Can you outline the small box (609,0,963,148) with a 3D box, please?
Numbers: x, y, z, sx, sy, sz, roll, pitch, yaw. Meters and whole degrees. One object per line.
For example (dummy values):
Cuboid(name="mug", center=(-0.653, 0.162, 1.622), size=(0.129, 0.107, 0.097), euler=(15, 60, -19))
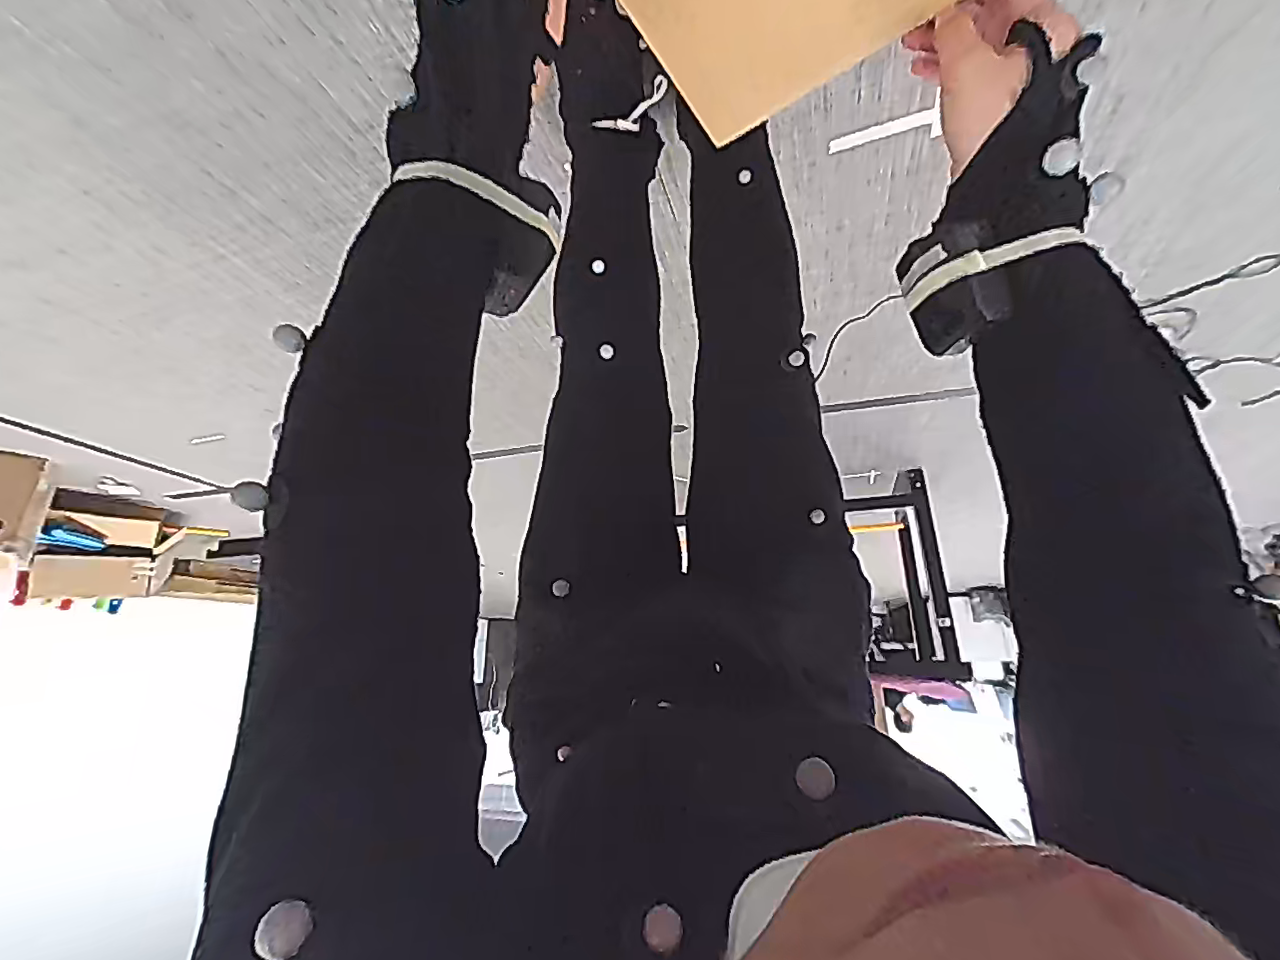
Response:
Cuboid(name="small box", center=(0.068, -0.350, 0.303), size=(0.168, 0.176, 0.179), euler=(-13, 154, 36))
